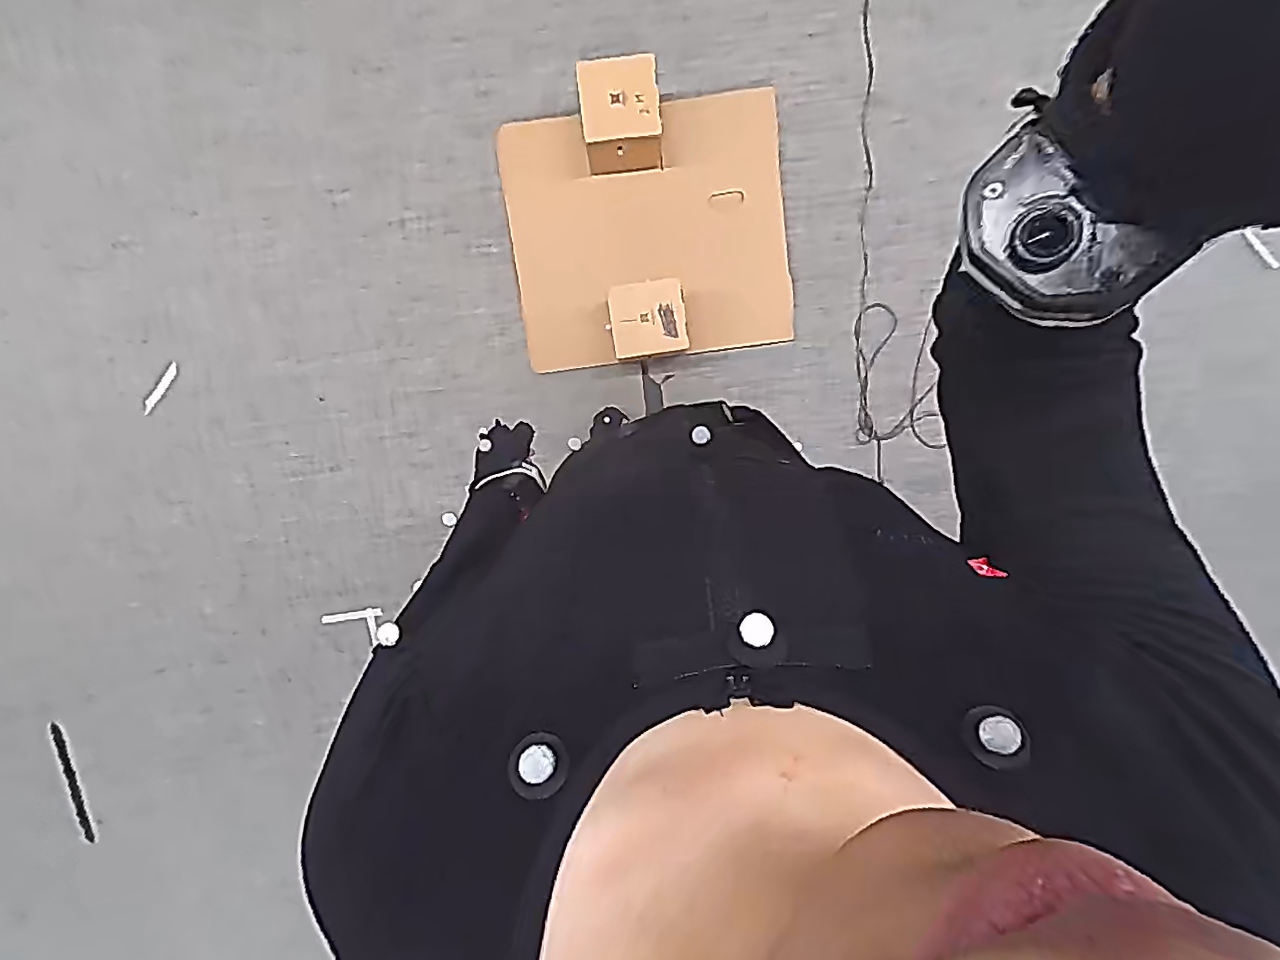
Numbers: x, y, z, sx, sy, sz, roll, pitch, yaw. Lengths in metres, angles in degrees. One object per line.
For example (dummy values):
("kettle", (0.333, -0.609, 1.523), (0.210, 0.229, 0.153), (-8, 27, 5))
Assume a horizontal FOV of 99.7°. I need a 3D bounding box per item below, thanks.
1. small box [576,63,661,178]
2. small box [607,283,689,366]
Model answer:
("small box", (-0.048, -0.832, 1.270), (0.179, 0.176, 0.168), (-6, 98, 0))
("small box", (0.017, -0.379, 1.338), (0.179, 0.176, 0.168), (-8, 99, 1))
